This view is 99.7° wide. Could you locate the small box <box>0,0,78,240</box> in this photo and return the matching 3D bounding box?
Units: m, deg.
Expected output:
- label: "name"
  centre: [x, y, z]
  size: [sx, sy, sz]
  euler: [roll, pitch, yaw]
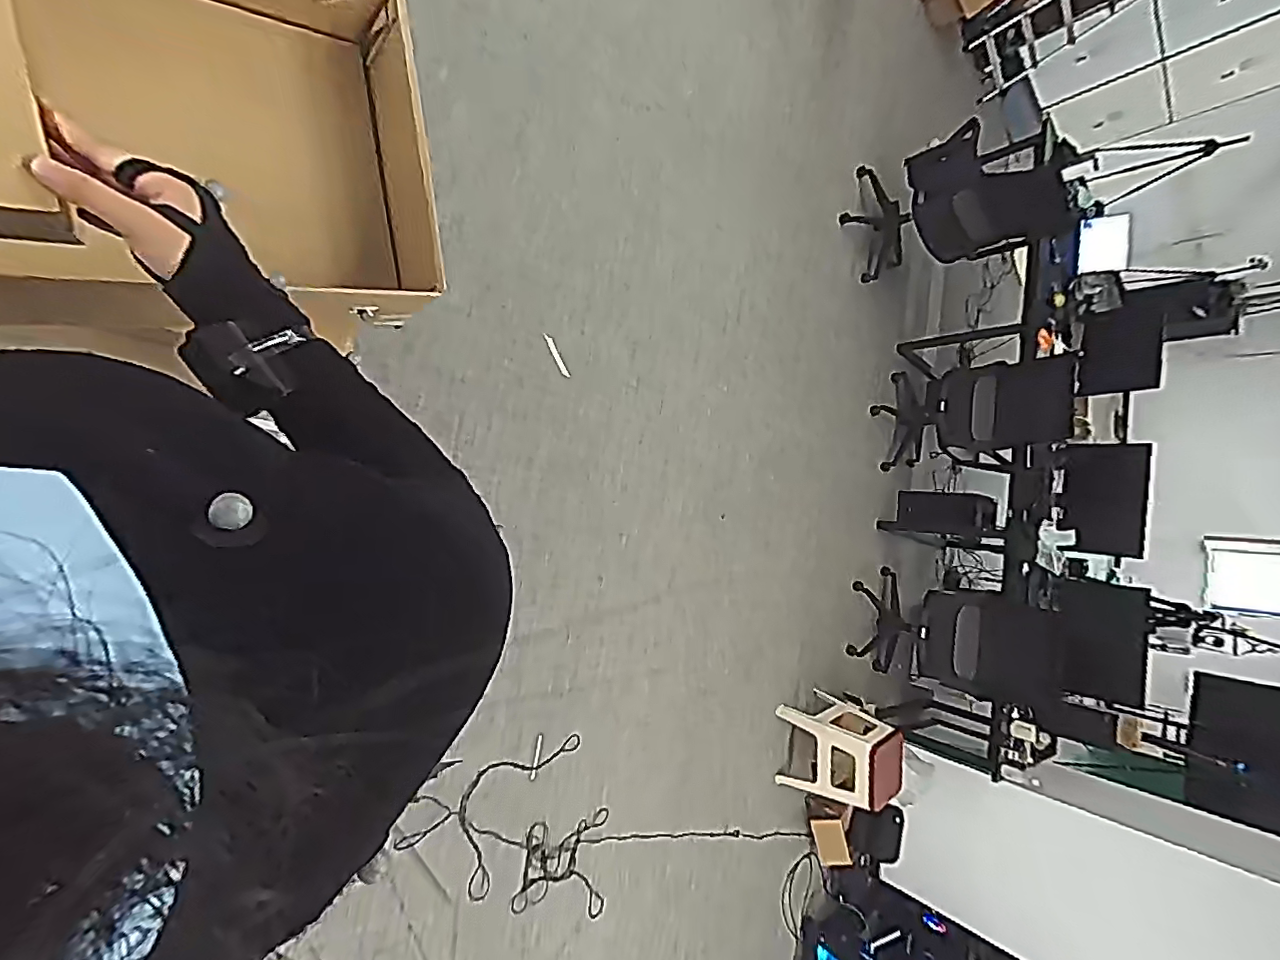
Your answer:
- label: "small box"
  centre: [-0.493, -0.255, 0.339]
  size: [0.179, 0.176, 0.168]
  euler: [-12, 109, -40]
